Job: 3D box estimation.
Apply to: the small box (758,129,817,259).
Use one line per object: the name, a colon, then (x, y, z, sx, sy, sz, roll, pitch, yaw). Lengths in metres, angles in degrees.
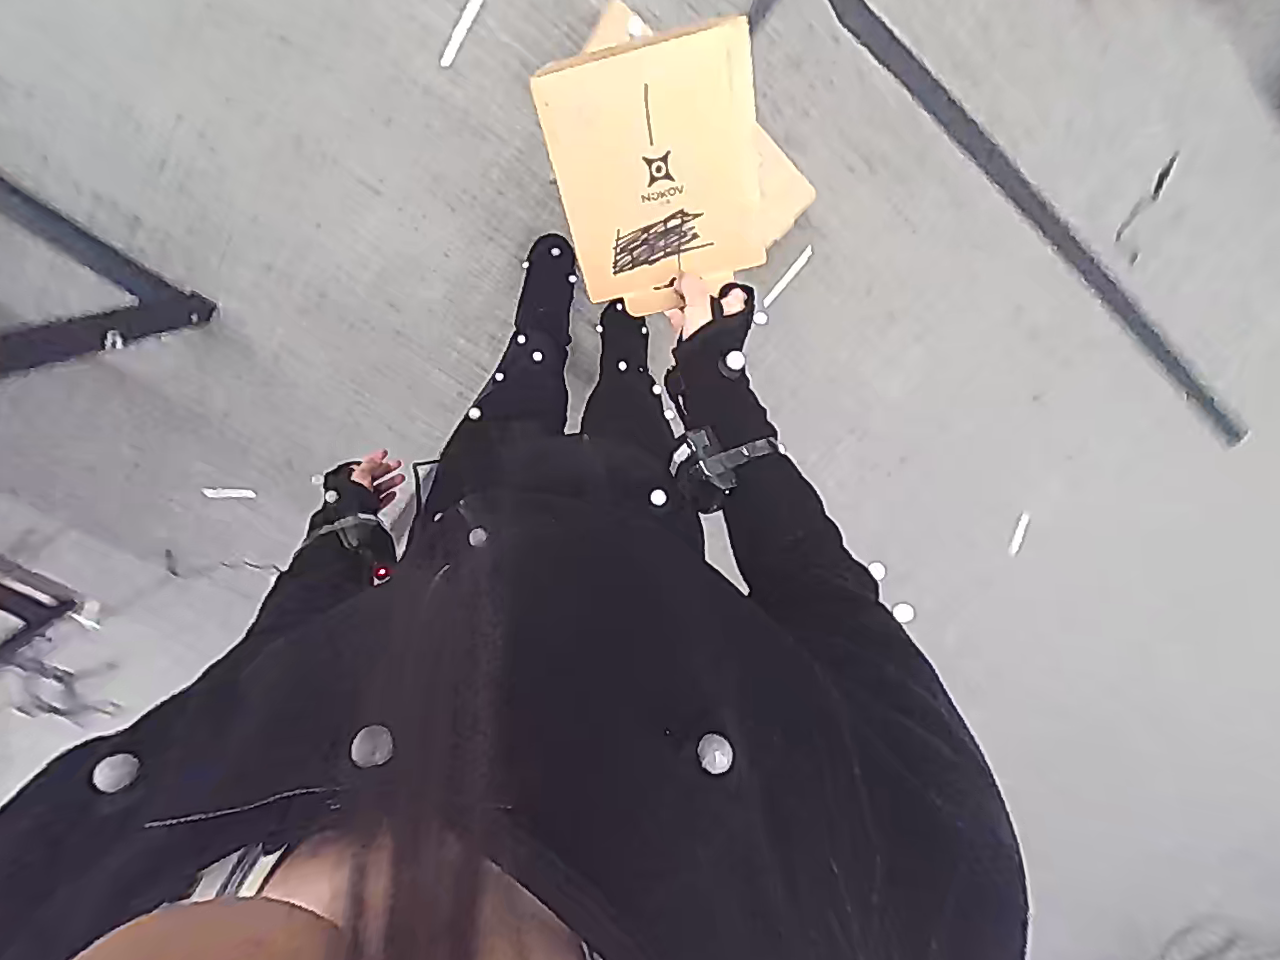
small box: (0.215, -0.558, 1.076, 0.179, 0.176, 0.168, 39, 111, -19)

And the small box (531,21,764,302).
small box: (0.012, -0.295, 0.499, 0.168, 0.176, 0.179, -12, 130, 5)
